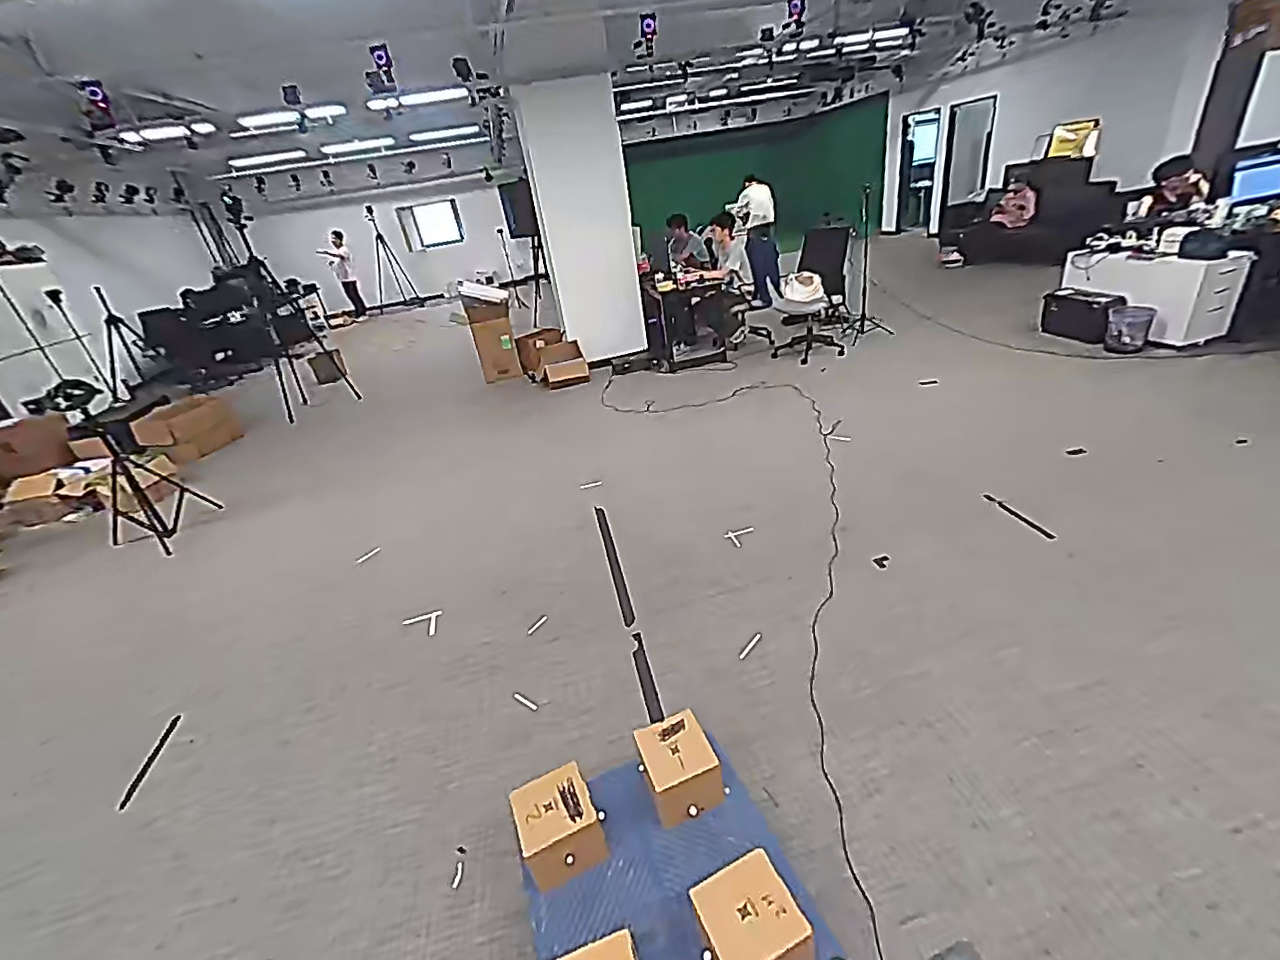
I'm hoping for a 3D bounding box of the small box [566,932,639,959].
[{"bbox_3d":[-0.064,0.984,0.976,0.179,0.176,0.168,-15,28,-13],"label":"small box"}]

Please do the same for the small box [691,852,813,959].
[{"bbox_3d":[0.221,0.889,1.055,0.179,0.176,0.168,-19,30,-16],"label":"small box"}]

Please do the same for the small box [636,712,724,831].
[{"bbox_3d":[0.101,0.738,1.374,0.168,0.176,0.179,-17,30,-13],"label":"small box"}]
